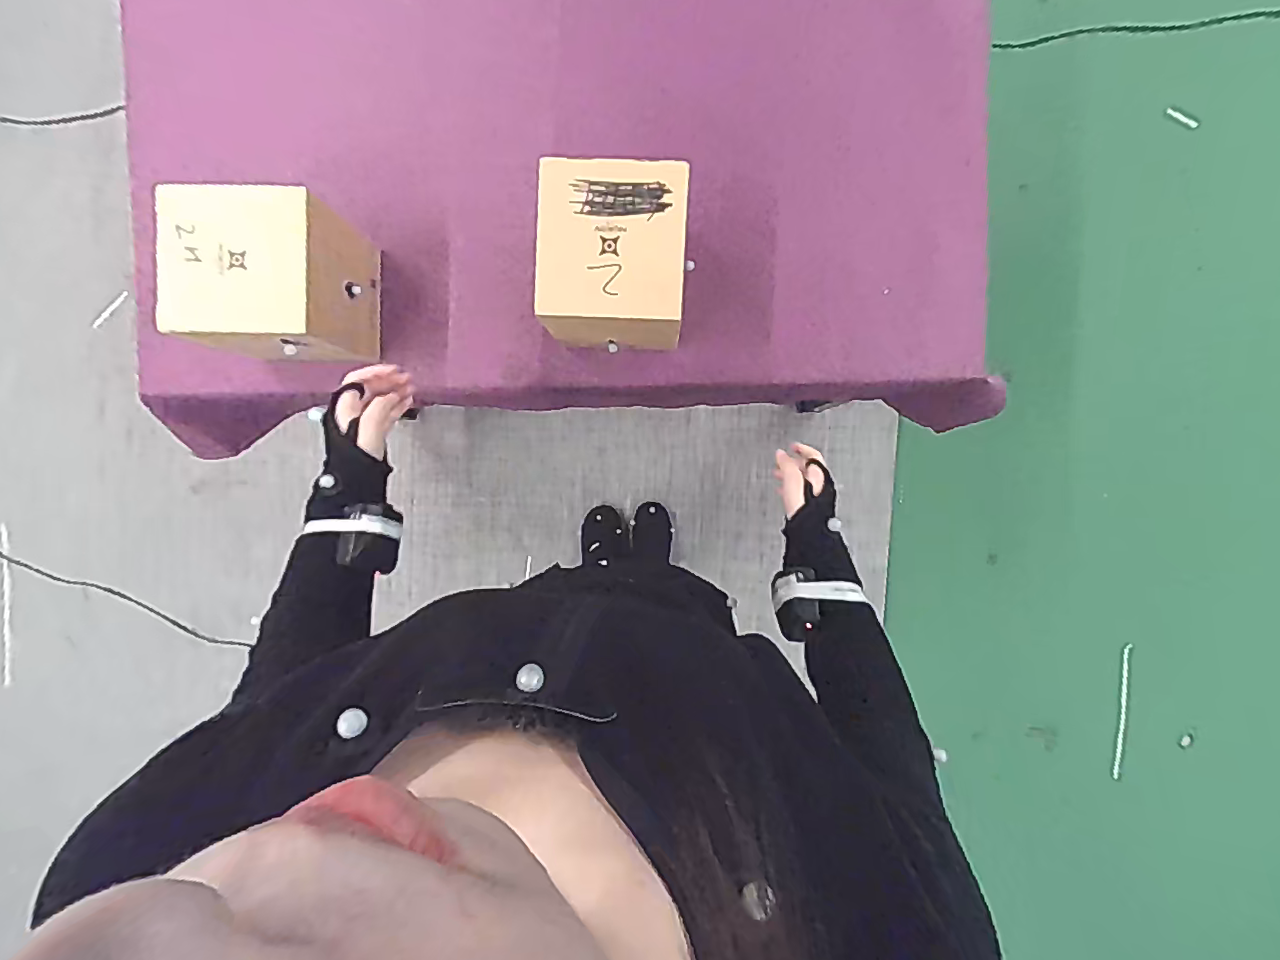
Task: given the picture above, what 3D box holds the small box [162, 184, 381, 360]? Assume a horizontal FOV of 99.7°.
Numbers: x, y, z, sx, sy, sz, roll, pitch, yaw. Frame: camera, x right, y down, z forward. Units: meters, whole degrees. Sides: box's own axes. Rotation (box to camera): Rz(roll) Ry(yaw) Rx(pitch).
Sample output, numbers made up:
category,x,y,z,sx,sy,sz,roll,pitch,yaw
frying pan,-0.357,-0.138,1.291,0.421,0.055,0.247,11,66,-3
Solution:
category,x,y,z,sx,sy,sz,roll,pitch,yaw
small box,-0.457,-0.253,0.695,0.179,0.176,0.168,2,91,2
